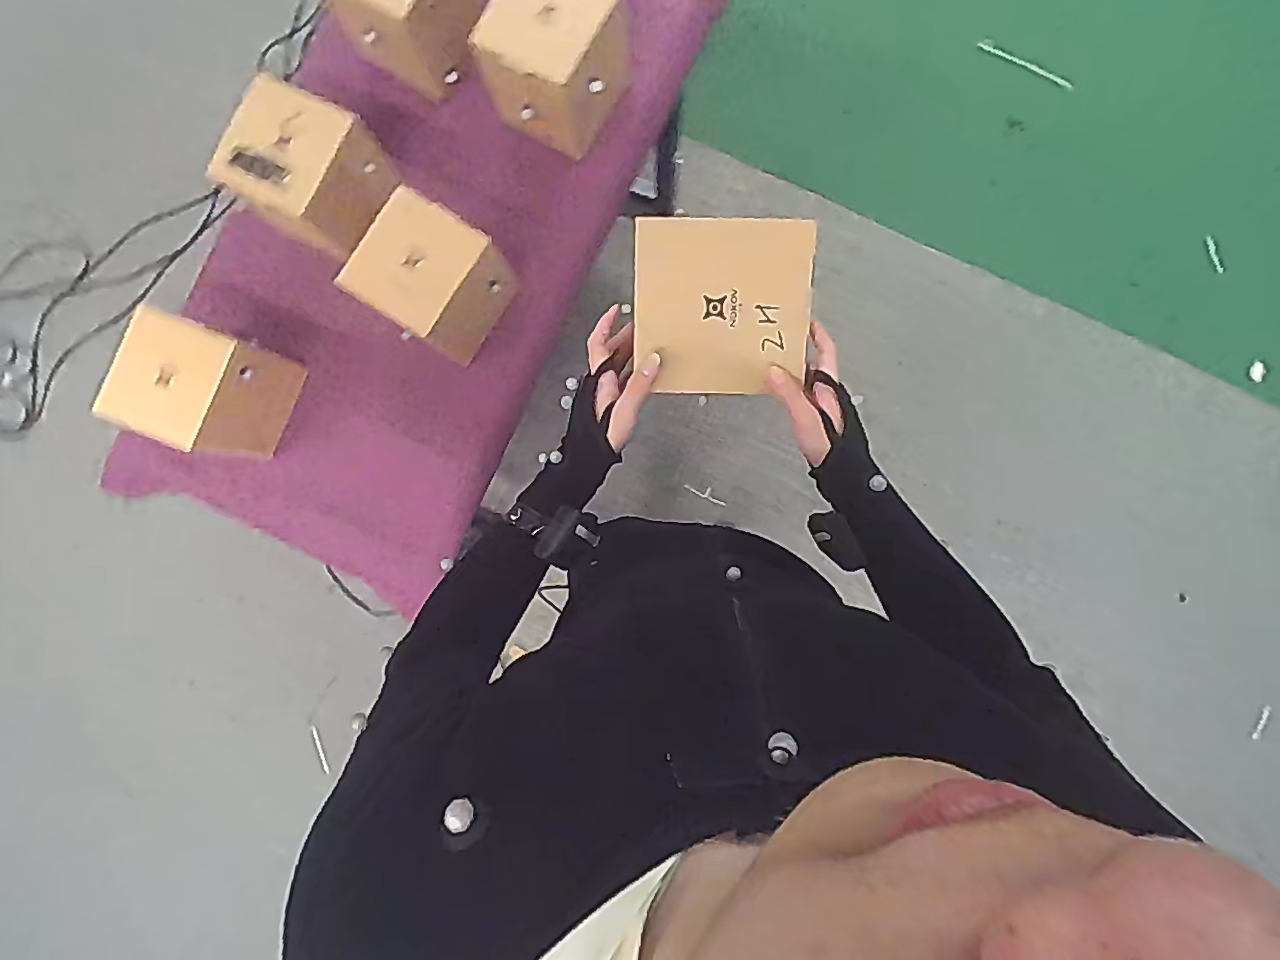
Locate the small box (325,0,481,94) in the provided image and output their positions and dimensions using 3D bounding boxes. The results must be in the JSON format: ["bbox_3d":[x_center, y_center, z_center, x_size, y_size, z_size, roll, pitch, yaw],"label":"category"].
[{"bbox_3d":[-0.386,-0.787,0.887,0.179,0.176,0.168,31,88,3],"label":"small box"}]

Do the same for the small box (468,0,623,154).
[{"bbox_3d":[-0.139,-0.677,0.873,0.168,0.176,0.179,30,89,4],"label":"small box"}]

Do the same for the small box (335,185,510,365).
[{"bbox_3d":[-0.328,-0.314,0.862,0.168,0.176,0.179,33,89,4],"label":"small box"}]

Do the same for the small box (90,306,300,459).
[{"bbox_3d":[-0.692,-0.143,0.864,0.168,0.176,0.179,21,87,2],"label":"small box"}]

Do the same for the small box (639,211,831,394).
[{"bbox_3d":[0.090,-0.185,0.598,0.179,0.176,0.168,2,103,0],"label":"small box"}]
